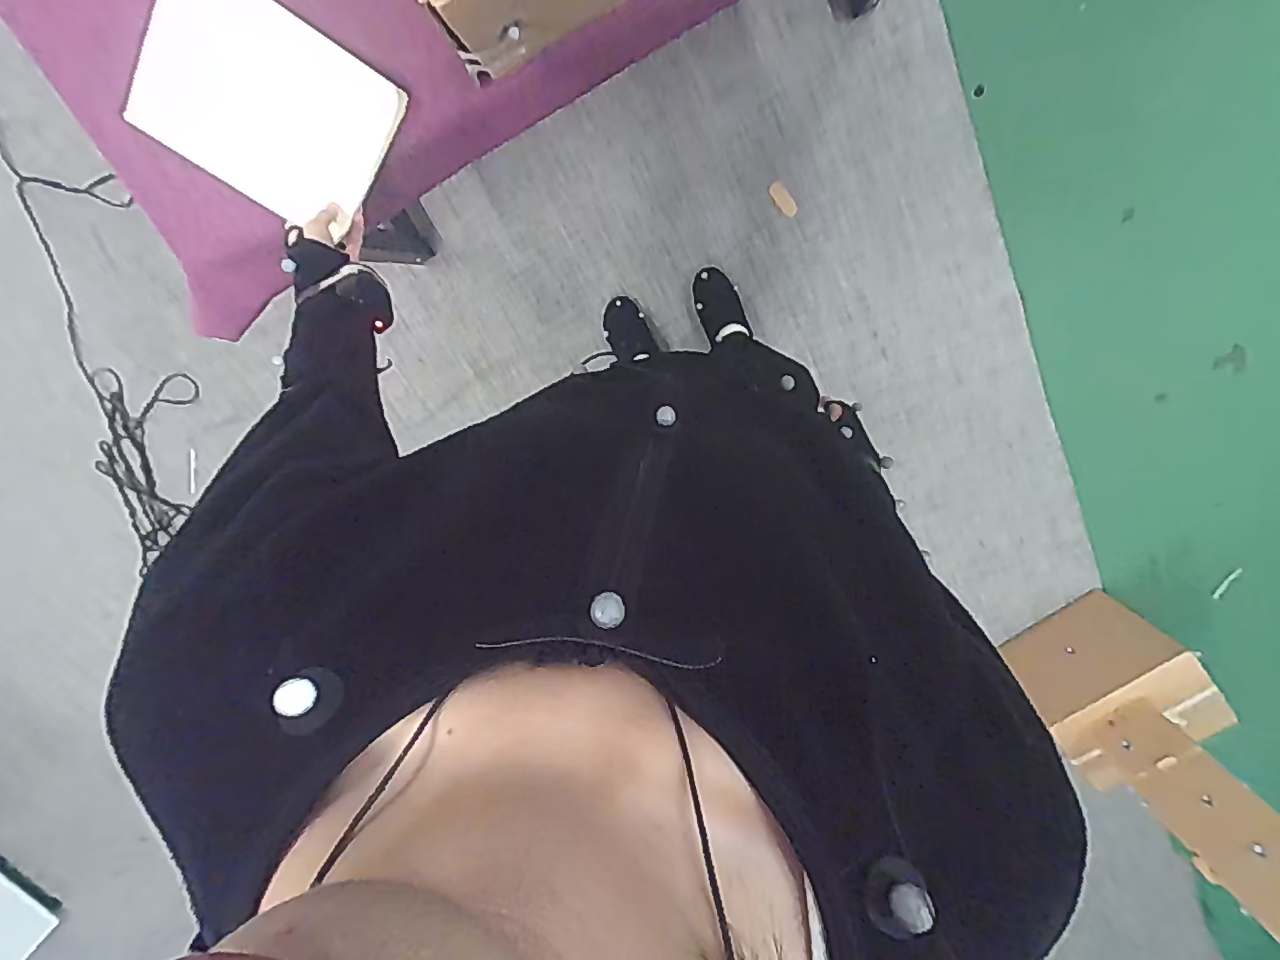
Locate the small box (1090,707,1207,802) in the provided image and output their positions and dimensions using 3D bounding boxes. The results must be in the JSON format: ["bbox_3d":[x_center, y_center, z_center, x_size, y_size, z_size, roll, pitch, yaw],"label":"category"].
[{"bbox_3d":[1.311,0.713,1.376,0.168,0.176,0.179,-39,105,14],"label":"small box"}]

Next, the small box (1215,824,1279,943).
[{"bbox_3d":[1.311,0.828,1.068,0.179,0.176,0.168,-40,105,15],"label":"small box"}]

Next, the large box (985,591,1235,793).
[{"bbox_3d":[1.353,0.613,1.599,0.408,0.320,0.320,-41,106,12],"label":"large box"}]

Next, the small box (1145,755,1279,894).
[{"bbox_3d":[1.309,0.772,1.223,0.179,0.176,0.168,-41,104,13],"label":"small box"}]
